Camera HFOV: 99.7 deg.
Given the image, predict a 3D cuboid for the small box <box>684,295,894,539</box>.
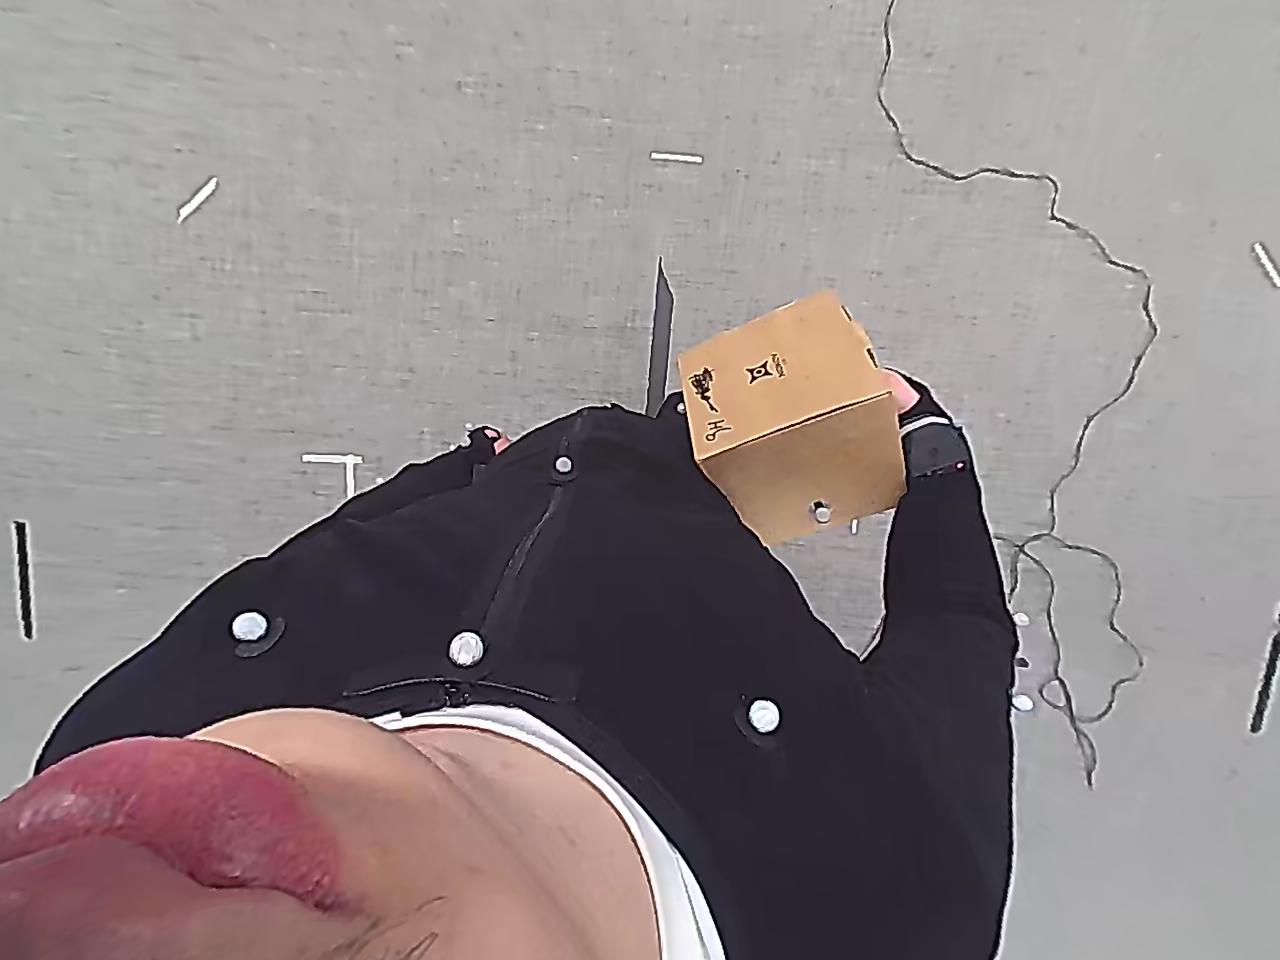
[{"bbox_3d":[0.164,-0.061,0.593,0.179,0.168,0.176,-19,136,16],"label":"small box"}]
